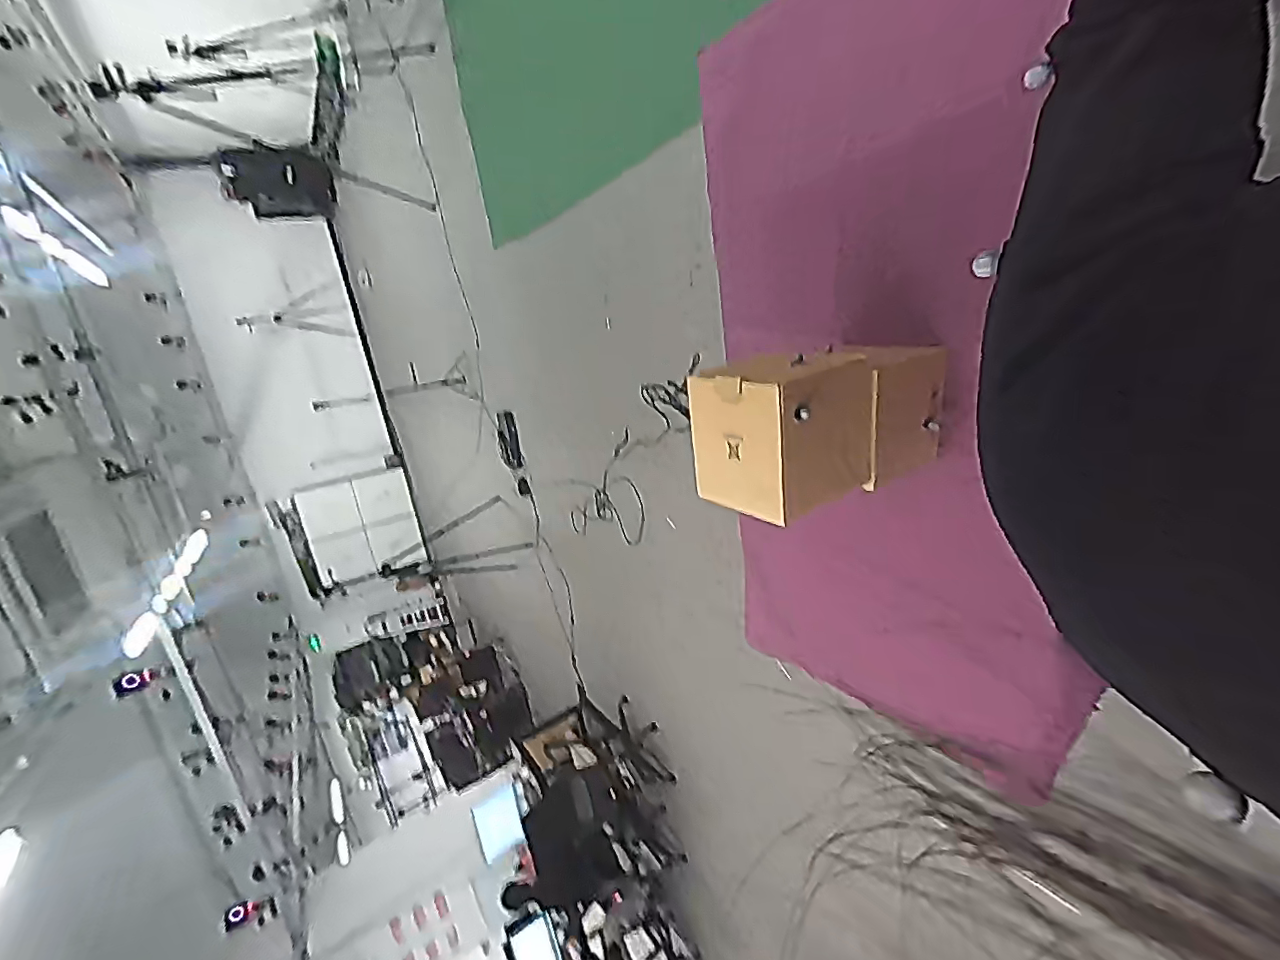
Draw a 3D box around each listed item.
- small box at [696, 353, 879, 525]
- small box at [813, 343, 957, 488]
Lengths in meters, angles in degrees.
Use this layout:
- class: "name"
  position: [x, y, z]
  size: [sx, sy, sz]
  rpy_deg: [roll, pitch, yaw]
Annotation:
- class: "small box"
  position: [0.198, -0.066, 0.723]
  size: [0.168, 0.176, 0.179]
  rpy_deg: [20, 123, 54]
- class: "small box"
  position: [0.333, -0.106, 0.802]
  size: [0.179, 0.176, 0.168]
  rpy_deg: [21, 125, 53]
